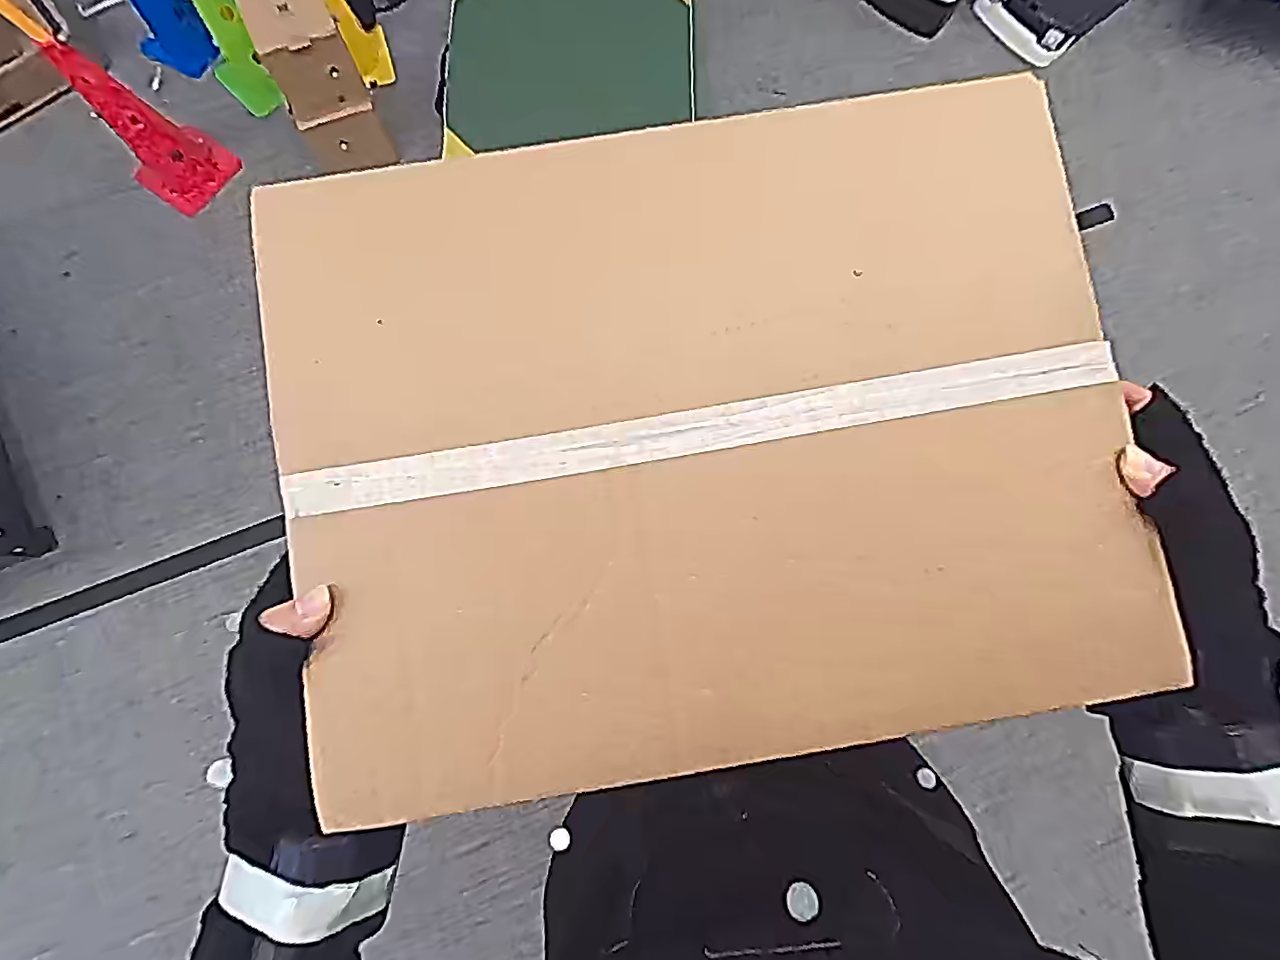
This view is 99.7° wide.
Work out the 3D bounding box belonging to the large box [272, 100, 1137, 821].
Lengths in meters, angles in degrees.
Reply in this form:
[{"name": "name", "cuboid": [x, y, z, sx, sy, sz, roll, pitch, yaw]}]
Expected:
[{"name": "large box", "cuboid": [0.027, -0.009, 0.422, 0.408, 0.320, 0.320, -10, 84, -1]}]
